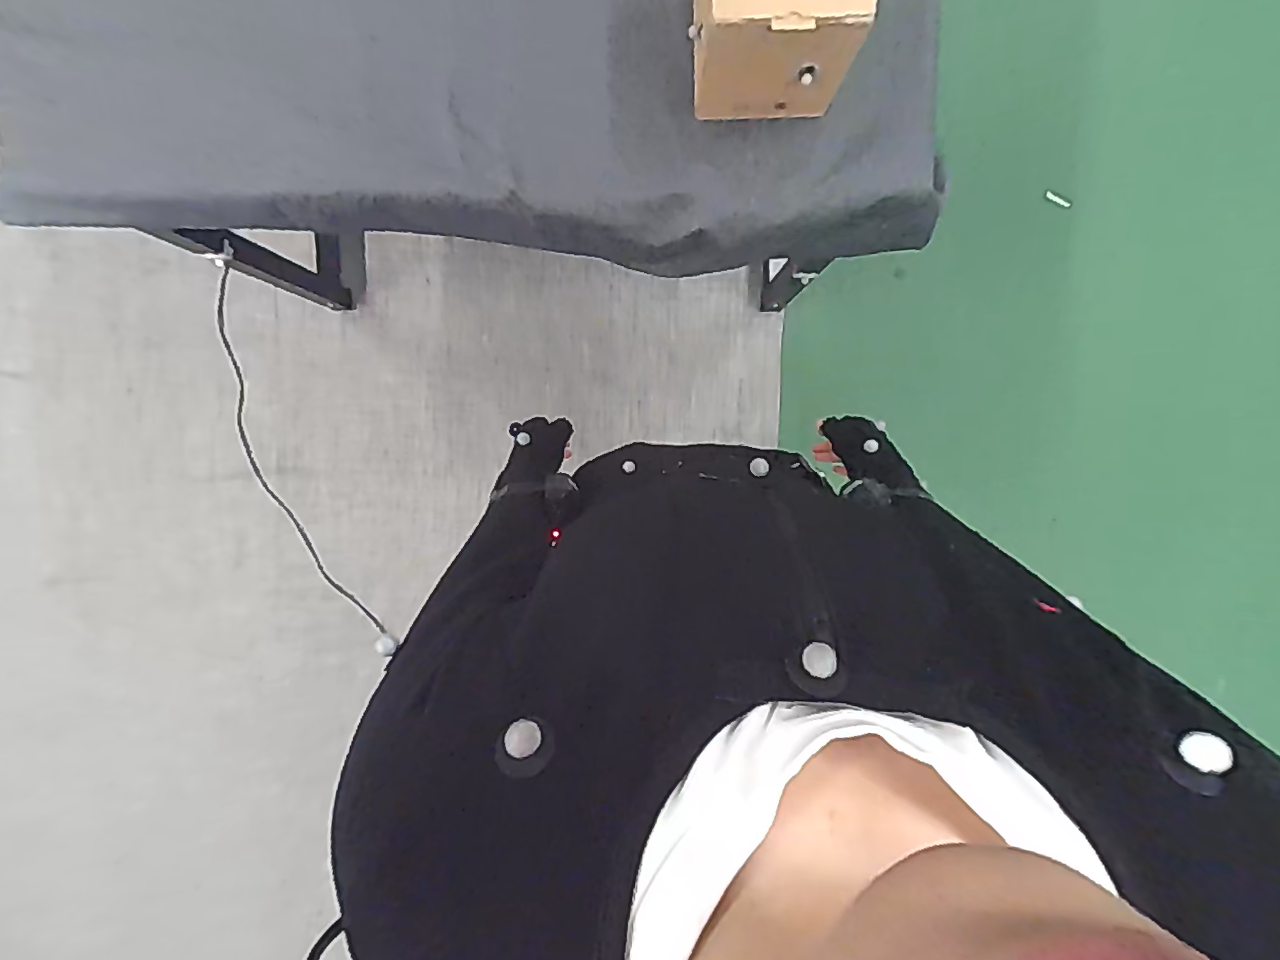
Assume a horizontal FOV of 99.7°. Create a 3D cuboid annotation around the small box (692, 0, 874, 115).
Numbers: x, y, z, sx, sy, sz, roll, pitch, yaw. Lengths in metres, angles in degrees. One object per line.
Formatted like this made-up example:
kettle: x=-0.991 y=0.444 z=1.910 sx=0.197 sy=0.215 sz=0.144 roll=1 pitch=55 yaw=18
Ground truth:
small box: x=0.150 y=-0.544 z=0.610 sx=0.168 sy=0.176 sz=0.179 roll=-2 pitch=93 yaw=0
